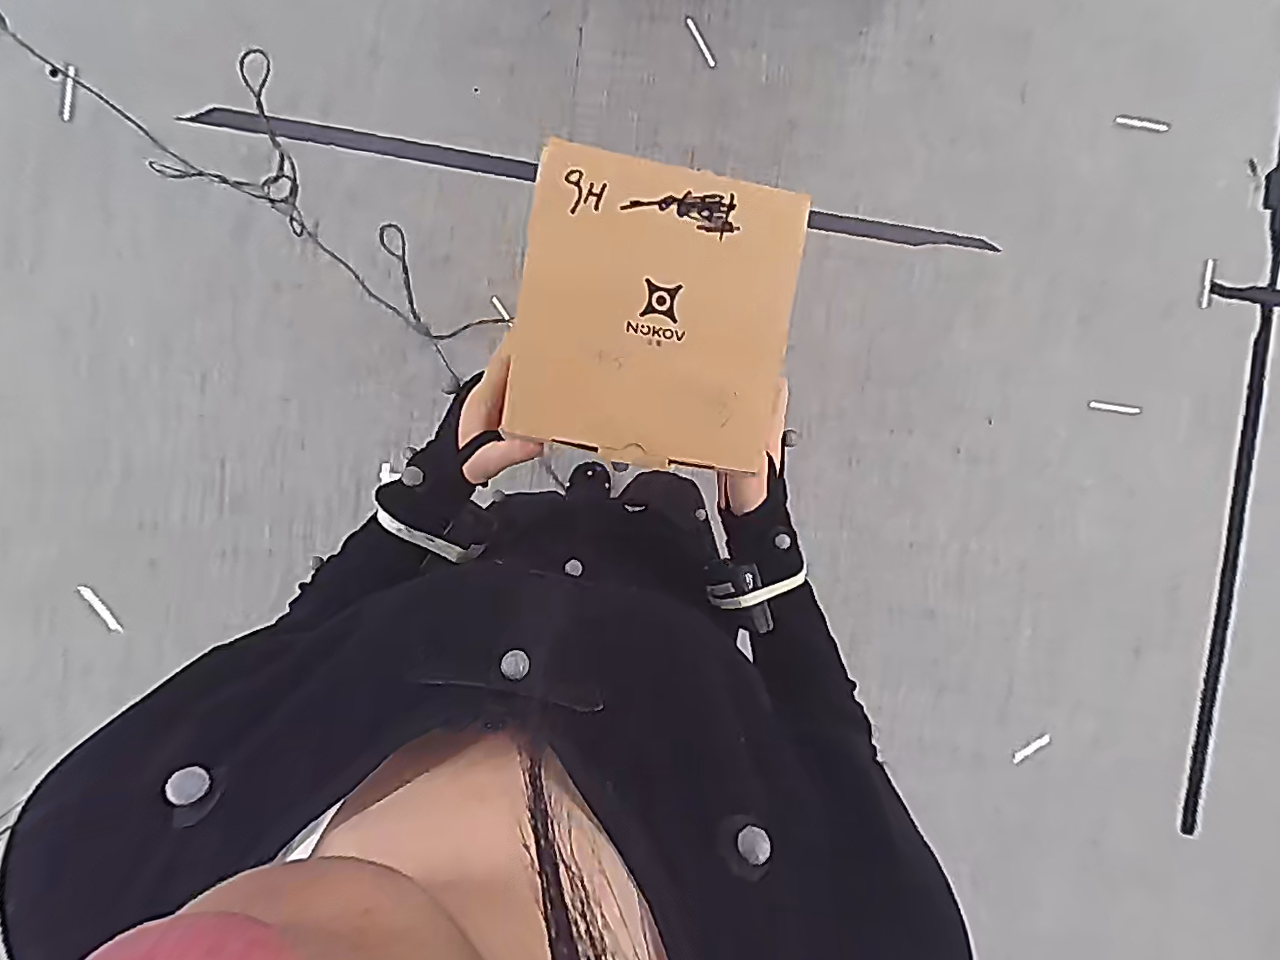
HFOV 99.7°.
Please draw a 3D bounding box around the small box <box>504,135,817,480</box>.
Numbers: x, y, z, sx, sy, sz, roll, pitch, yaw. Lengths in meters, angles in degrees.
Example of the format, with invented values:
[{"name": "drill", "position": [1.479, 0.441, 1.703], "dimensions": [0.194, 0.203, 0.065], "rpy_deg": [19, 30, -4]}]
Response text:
[{"name": "small box", "position": [0.004, -0.107, 0.400], "dimensions": [0.168, 0.176, 0.179], "rpy_deg": [9, 96, -8]}]
